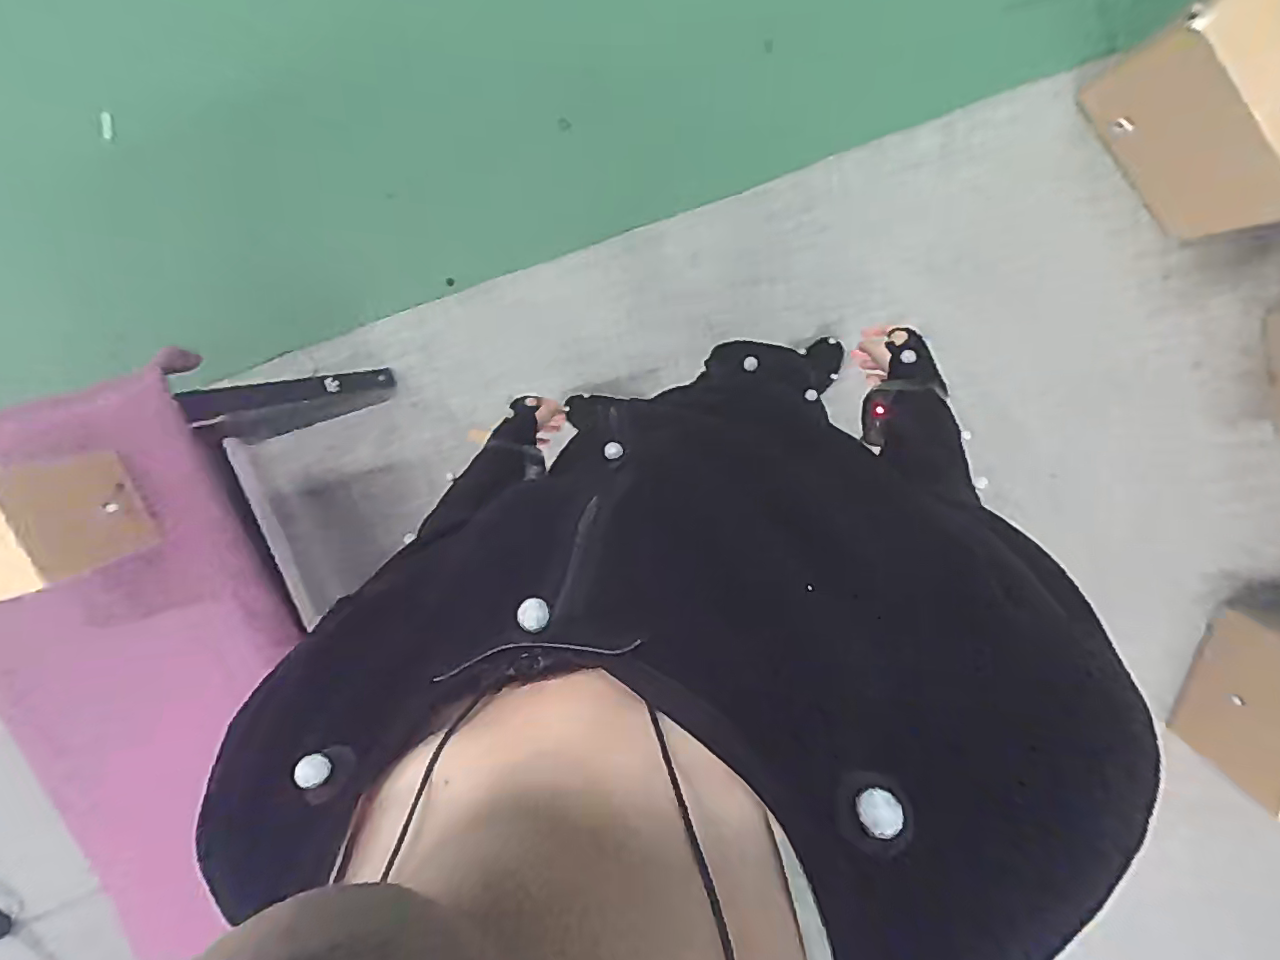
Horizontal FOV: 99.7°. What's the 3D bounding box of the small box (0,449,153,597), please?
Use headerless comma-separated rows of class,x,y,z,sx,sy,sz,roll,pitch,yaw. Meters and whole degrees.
small box,-0.889,0.065,0.792,0.179,0.176,0.168,-14,103,11
